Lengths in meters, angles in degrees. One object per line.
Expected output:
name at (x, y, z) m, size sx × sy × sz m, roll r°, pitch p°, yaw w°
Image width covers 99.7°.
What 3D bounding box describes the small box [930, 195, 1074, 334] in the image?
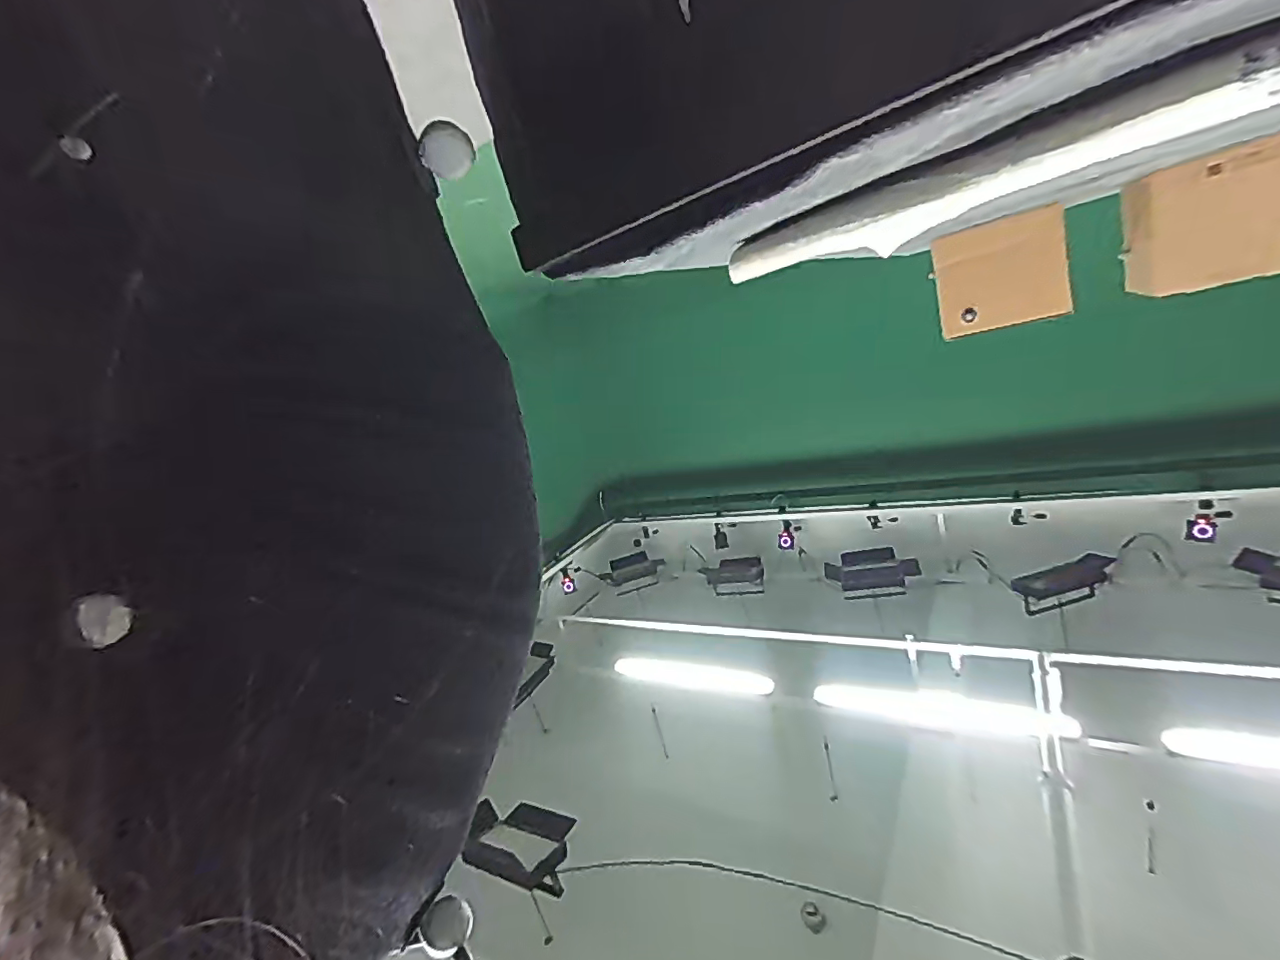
small box at (0.601, -0.361, 0.912) m, size 0.179 × 0.176 × 0.168 m, roll -8°, pitch -164°, yaw 31°
